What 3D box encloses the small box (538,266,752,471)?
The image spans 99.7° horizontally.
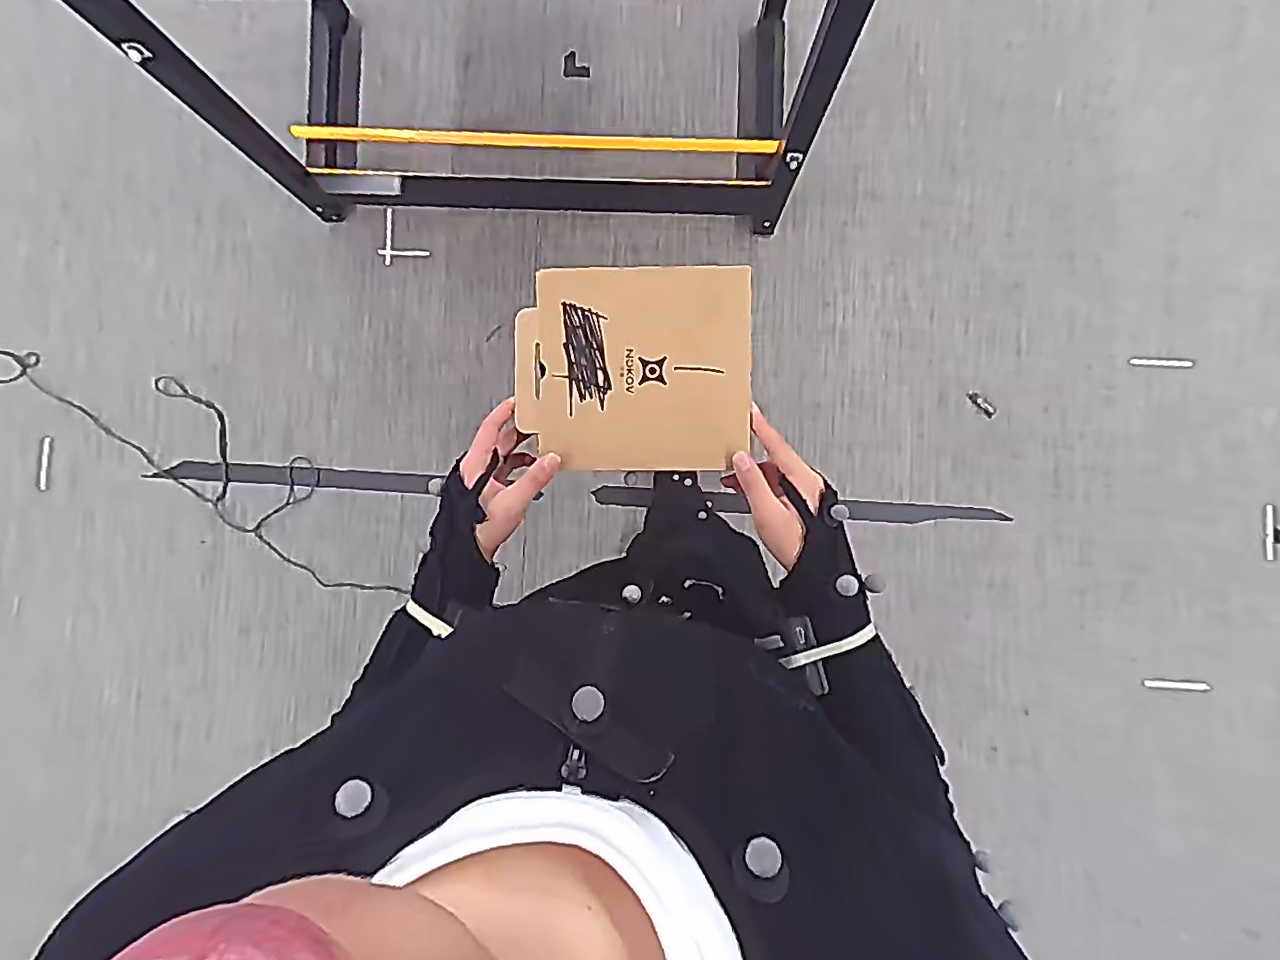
[{"bbox_3d":[0.007,-0.093,0.520,0.179,0.176,0.168,0,92,3],"label":"small box"}]
